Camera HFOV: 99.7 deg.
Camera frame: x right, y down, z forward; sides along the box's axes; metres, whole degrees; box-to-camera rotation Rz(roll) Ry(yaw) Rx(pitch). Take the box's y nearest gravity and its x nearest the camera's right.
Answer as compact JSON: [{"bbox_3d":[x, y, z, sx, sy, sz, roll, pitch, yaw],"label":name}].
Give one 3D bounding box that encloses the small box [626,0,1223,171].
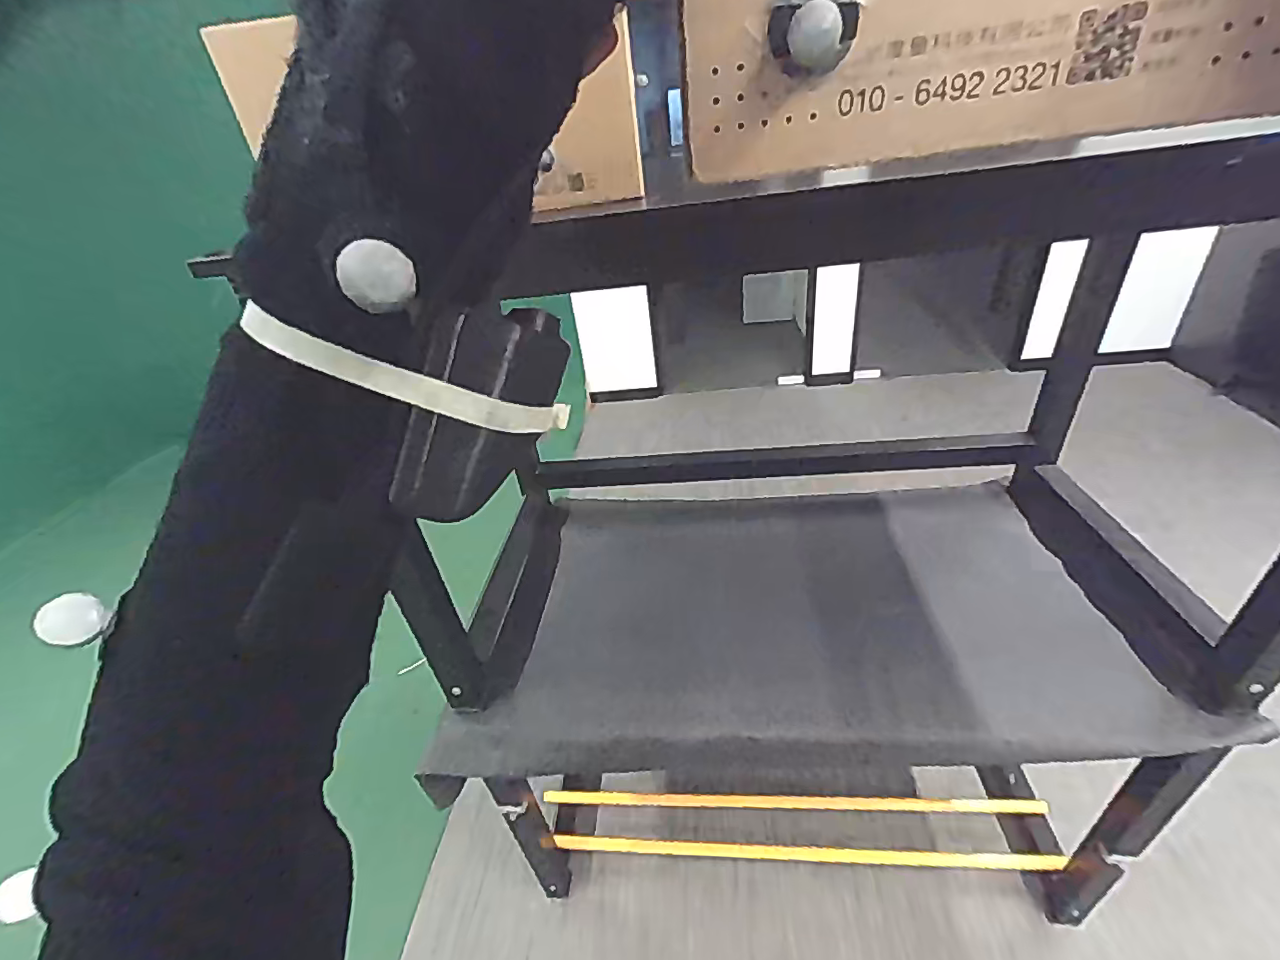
[{"bbox_3d":[0.078,-0.216,0.190,0.168,0.176,0.179,-3,30,7],"label":"small box"}]
